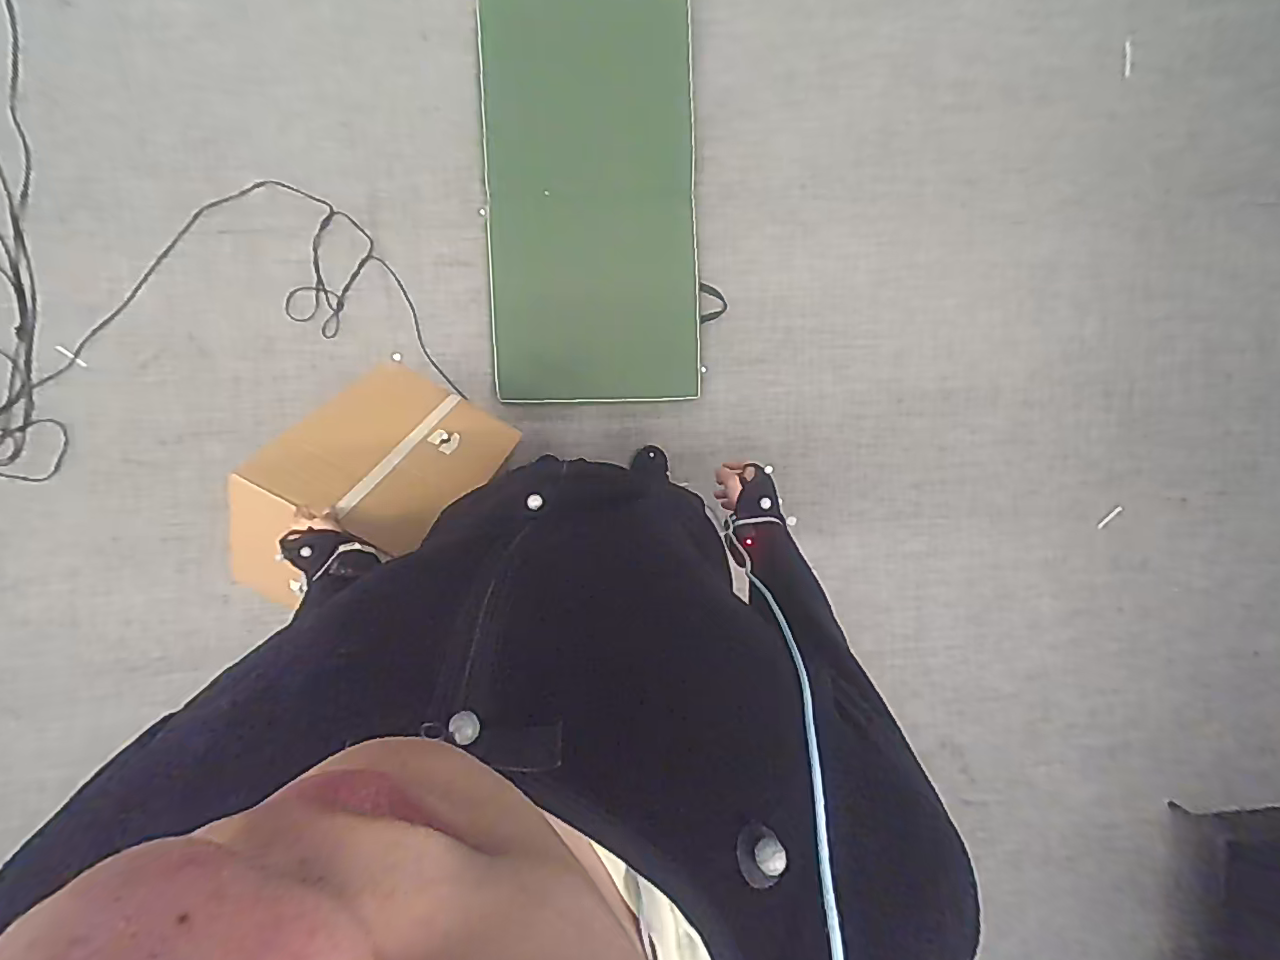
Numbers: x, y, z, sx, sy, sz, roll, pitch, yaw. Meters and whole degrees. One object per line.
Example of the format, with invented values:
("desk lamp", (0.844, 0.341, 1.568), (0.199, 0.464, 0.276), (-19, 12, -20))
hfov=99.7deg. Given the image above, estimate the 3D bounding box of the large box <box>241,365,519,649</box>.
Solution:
("large box", (-0.498, 0.047, 1.076), (0.320, 0.408, 0.320), (31, 128, -8))
